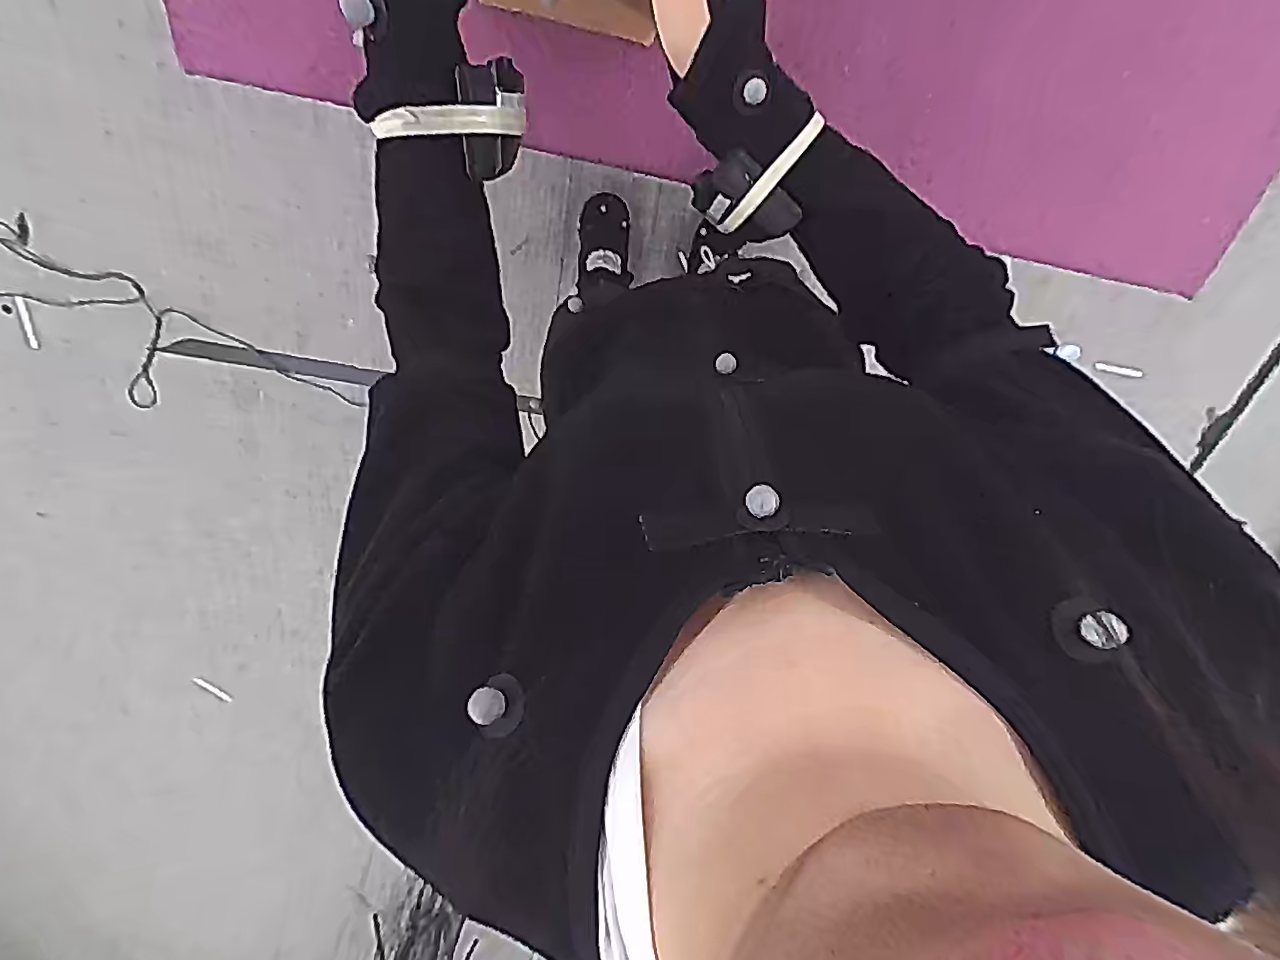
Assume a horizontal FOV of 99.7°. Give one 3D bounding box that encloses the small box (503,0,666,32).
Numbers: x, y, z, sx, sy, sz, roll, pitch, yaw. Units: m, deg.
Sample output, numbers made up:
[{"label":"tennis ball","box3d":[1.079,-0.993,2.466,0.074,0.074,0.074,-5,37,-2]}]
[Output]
[{"label":"small box","box3d":[-0.052,-0.489,0.429,0.179,0.176,0.168,8,118,-8]}]
